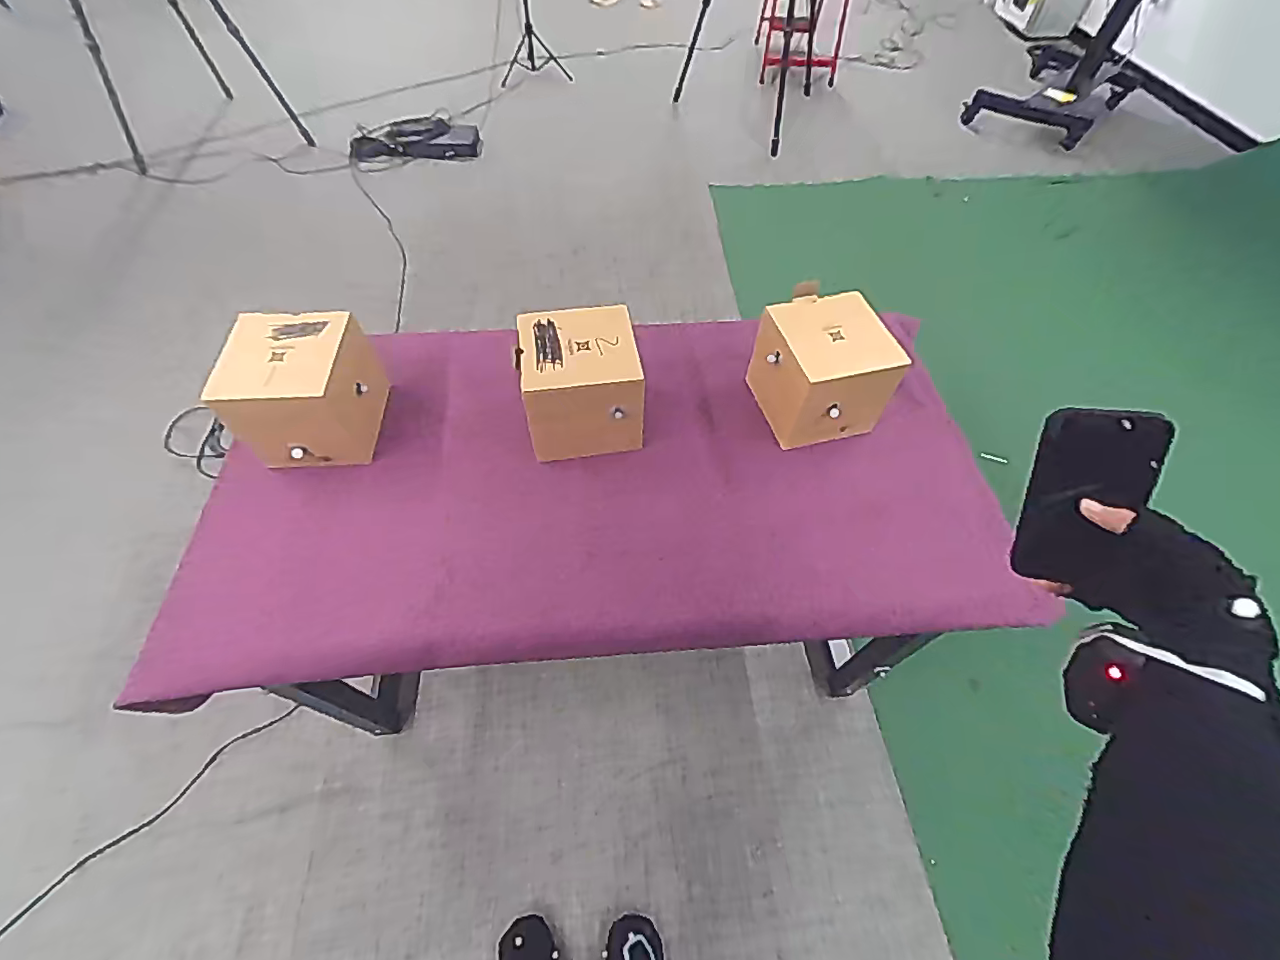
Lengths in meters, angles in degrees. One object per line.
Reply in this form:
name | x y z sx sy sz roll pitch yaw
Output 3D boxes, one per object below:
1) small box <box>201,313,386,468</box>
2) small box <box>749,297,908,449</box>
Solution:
small box | -0.517 -0.137 0.841 0.168 0.176 0.179 -2 58 -3
small box | 0.296 -0.167 0.891 0.168 0.176 0.179 -12 57 -9
